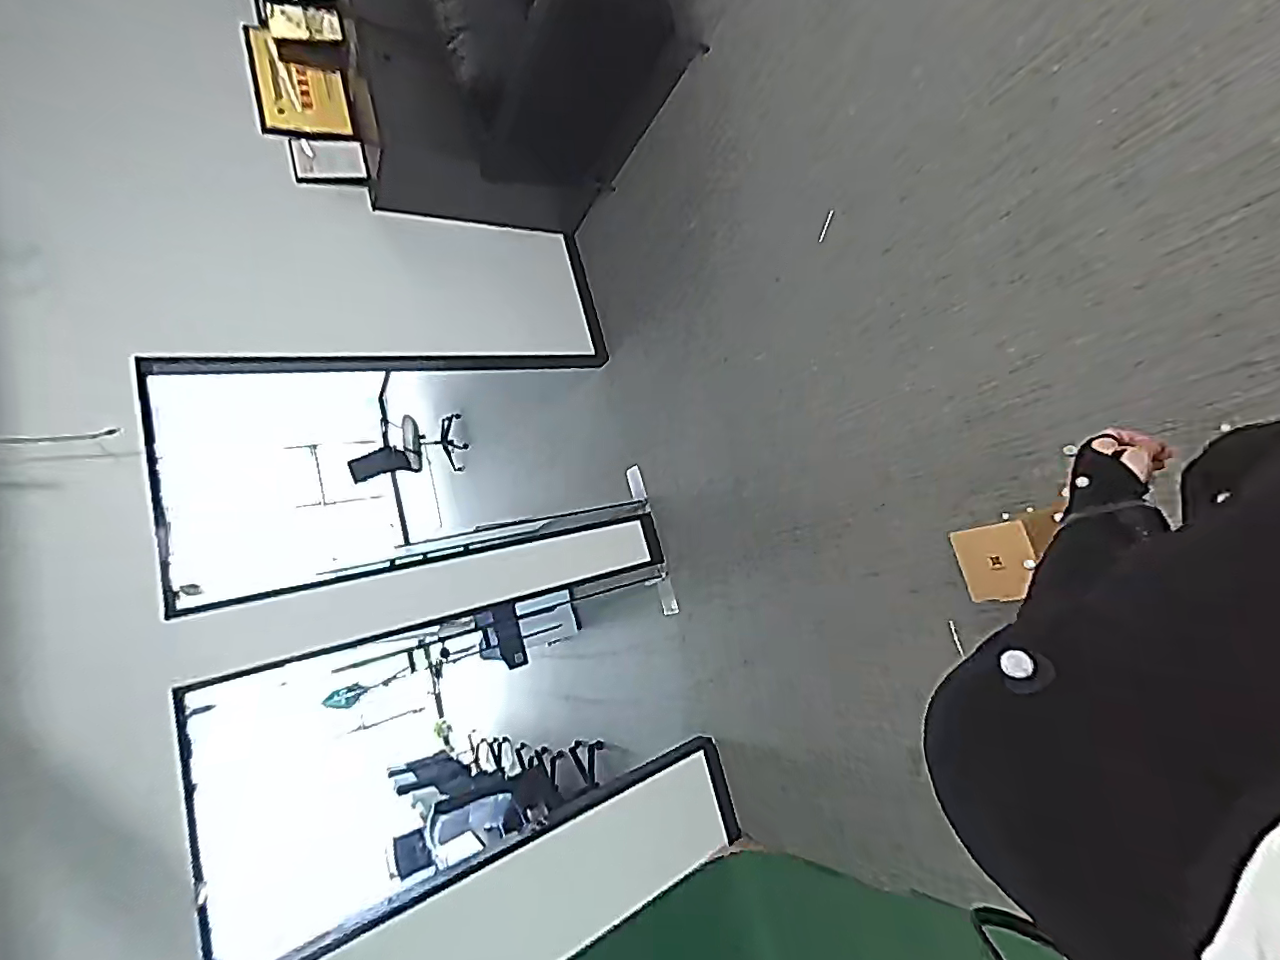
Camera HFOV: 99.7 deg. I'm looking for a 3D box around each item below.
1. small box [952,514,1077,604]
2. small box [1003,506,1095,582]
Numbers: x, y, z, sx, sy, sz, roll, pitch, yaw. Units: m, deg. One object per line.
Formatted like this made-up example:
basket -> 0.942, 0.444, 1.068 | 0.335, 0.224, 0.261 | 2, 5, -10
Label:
small box -> 0.889, 0.183, 1.285 | 0.168, 0.176, 0.179 | -29, 74, 54
small box -> 1.020, 0.170, 1.380 | 0.179, 0.176, 0.168 | -26, 75, 54
